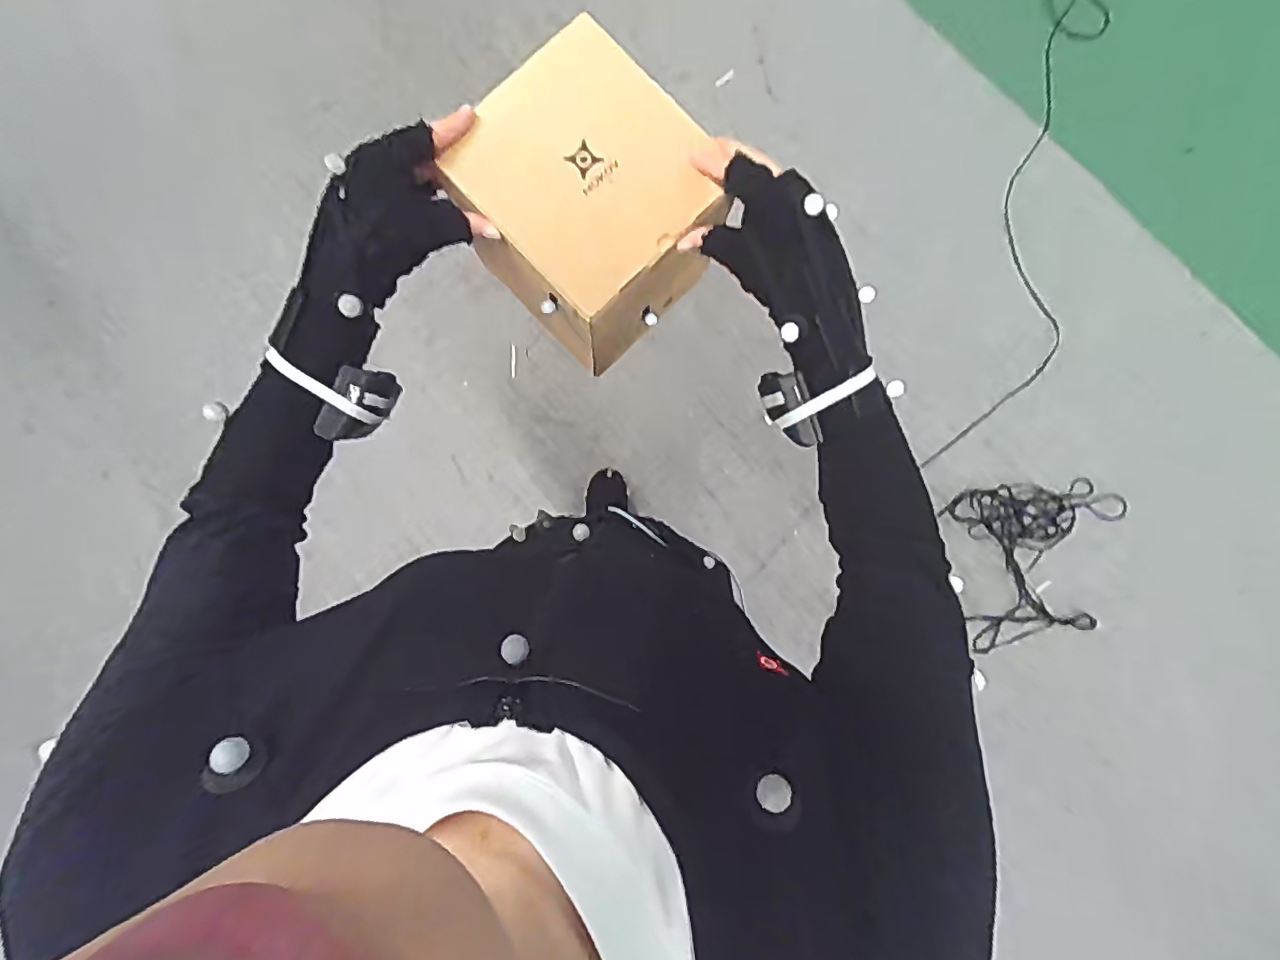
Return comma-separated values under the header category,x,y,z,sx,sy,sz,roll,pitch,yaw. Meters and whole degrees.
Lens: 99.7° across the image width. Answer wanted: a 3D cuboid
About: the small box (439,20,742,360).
category,x,y,z,sx,sy,sz,roll,pitch,yaw
small box,-0.041,-0.238,0.493,0.179,0.176,0.168,45,86,1
